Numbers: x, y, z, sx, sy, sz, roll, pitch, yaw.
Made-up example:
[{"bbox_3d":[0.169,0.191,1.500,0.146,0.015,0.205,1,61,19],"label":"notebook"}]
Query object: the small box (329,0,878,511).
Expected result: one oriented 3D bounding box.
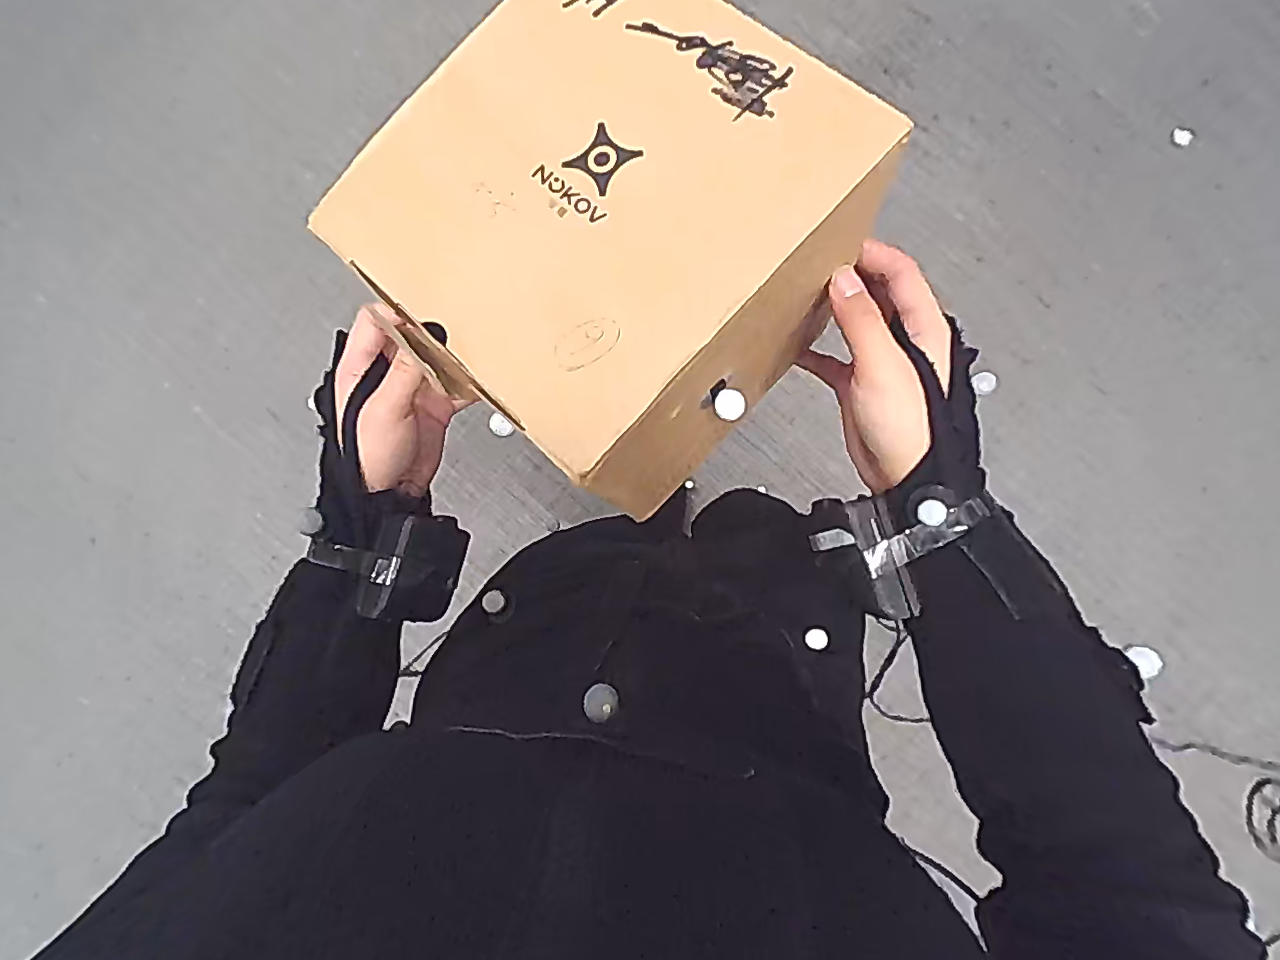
[{"bbox_3d":[-0.010,-0.099,0.297,0.168,0.176,0.179,42,90,12],"label":"small box"}]
